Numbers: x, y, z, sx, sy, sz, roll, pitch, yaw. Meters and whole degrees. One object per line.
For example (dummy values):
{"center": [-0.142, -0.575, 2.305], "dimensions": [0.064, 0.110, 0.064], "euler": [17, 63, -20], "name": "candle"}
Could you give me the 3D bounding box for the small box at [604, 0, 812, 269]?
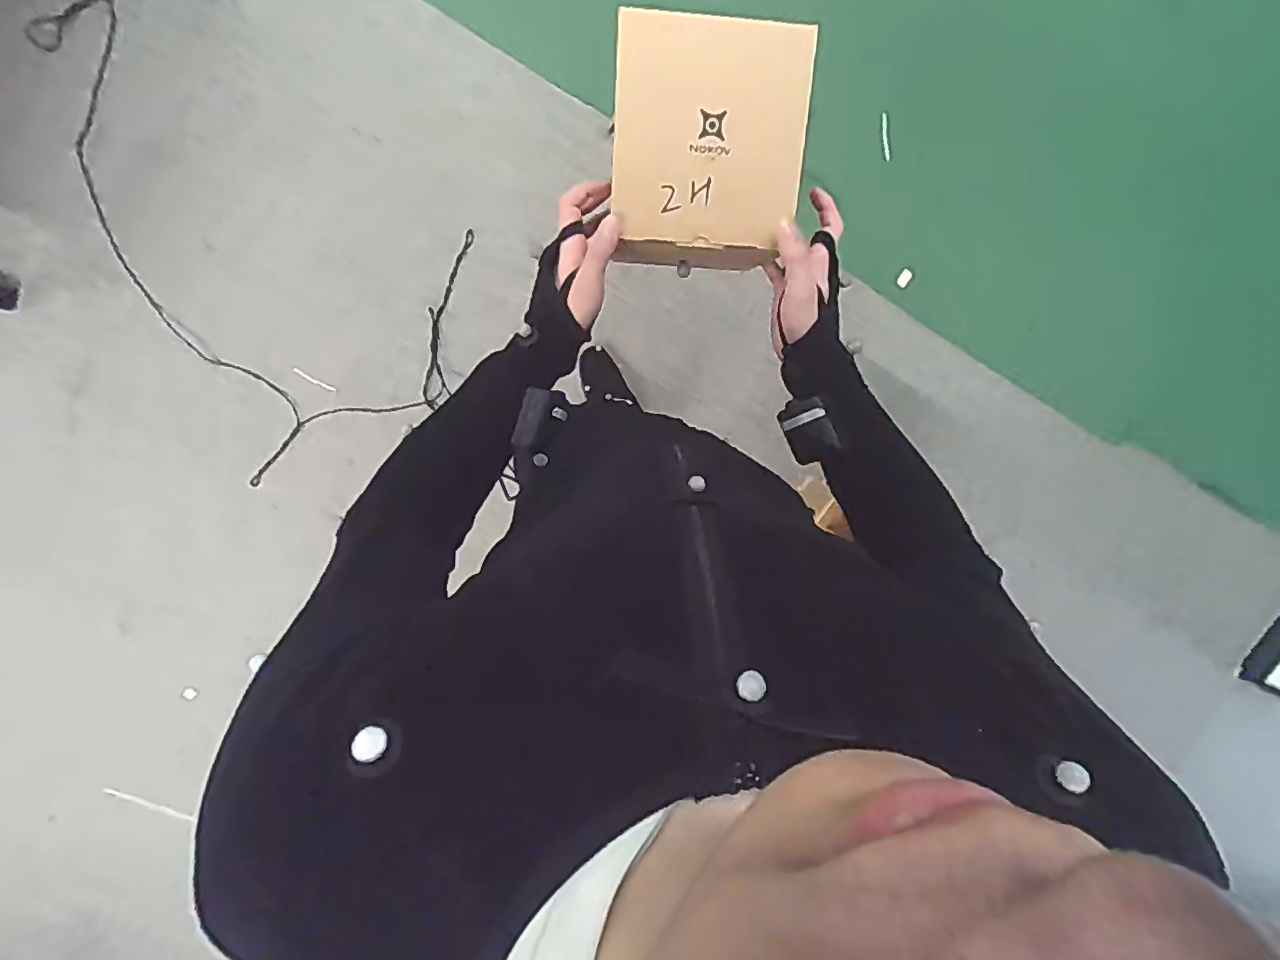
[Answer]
{"center": [0.051, -0.315, 0.531], "dimensions": [0.168, 0.176, 0.179], "euler": [3, 105, -3], "name": "small box"}
